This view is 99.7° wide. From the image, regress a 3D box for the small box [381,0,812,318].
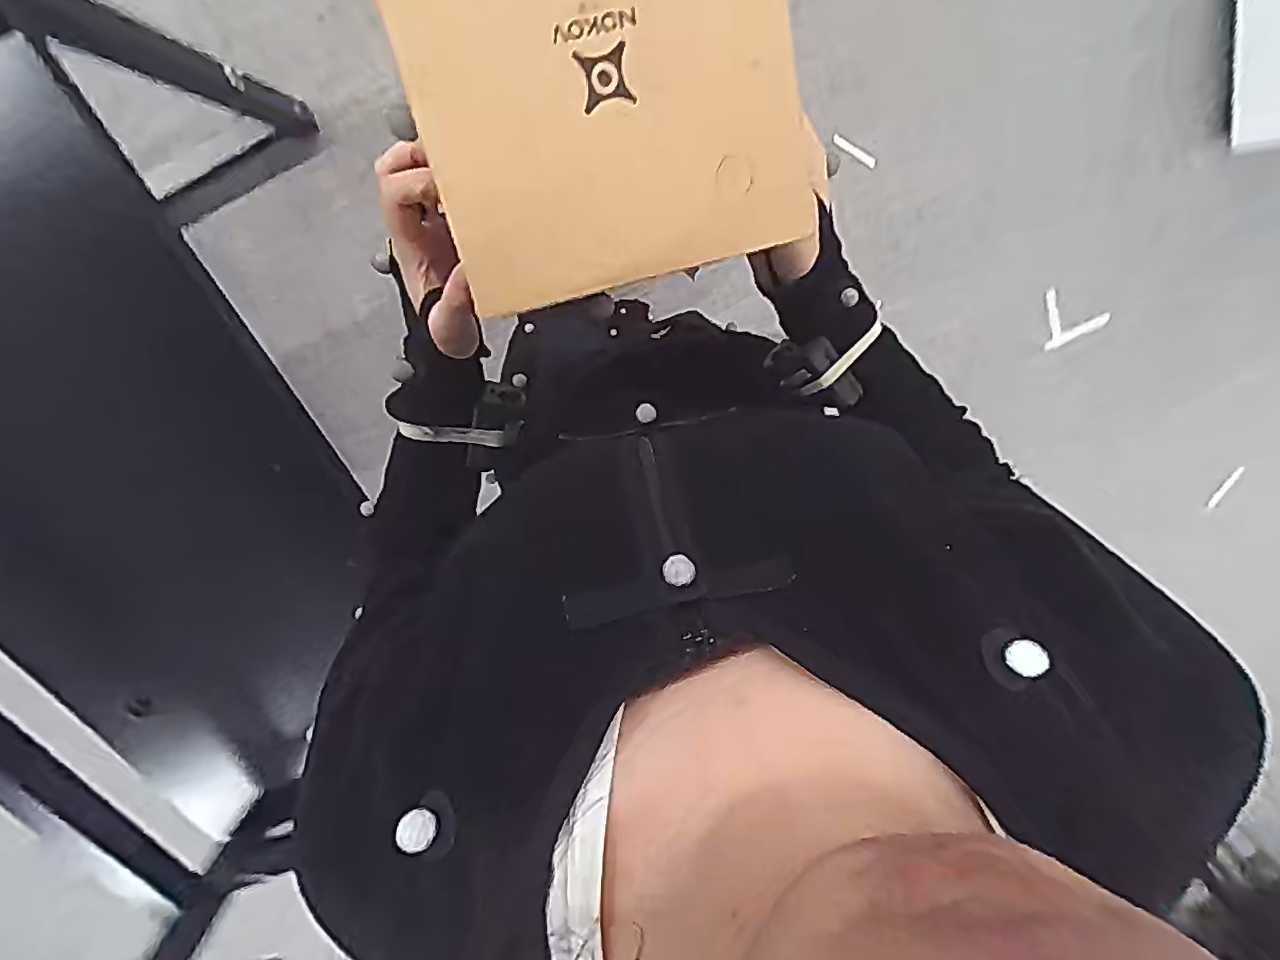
[{"bbox_3d":[-0.023,-0.201,0.300,0.168,0.176,0.179,-15,110,-2],"label":"small box"}]
